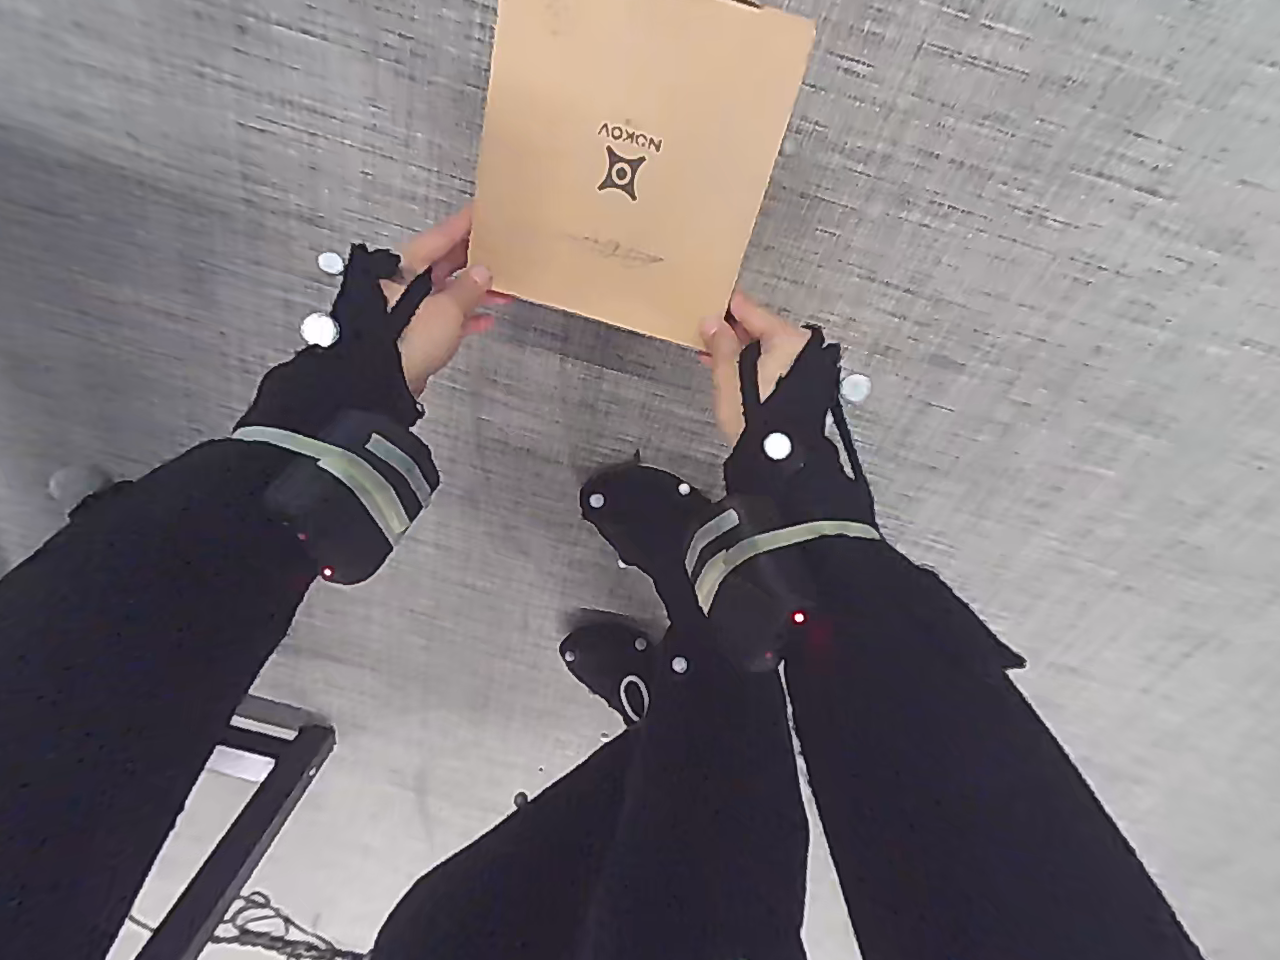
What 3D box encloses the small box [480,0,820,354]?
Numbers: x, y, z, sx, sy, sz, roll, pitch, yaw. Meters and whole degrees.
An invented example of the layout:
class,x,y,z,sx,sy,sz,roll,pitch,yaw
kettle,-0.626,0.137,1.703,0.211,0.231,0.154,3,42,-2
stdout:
class,x,y,z,sx,sy,sz,roll,pitch,yaw
small box,0.004,-0.209,0.387,0.168,0.176,0.179,15,114,0
